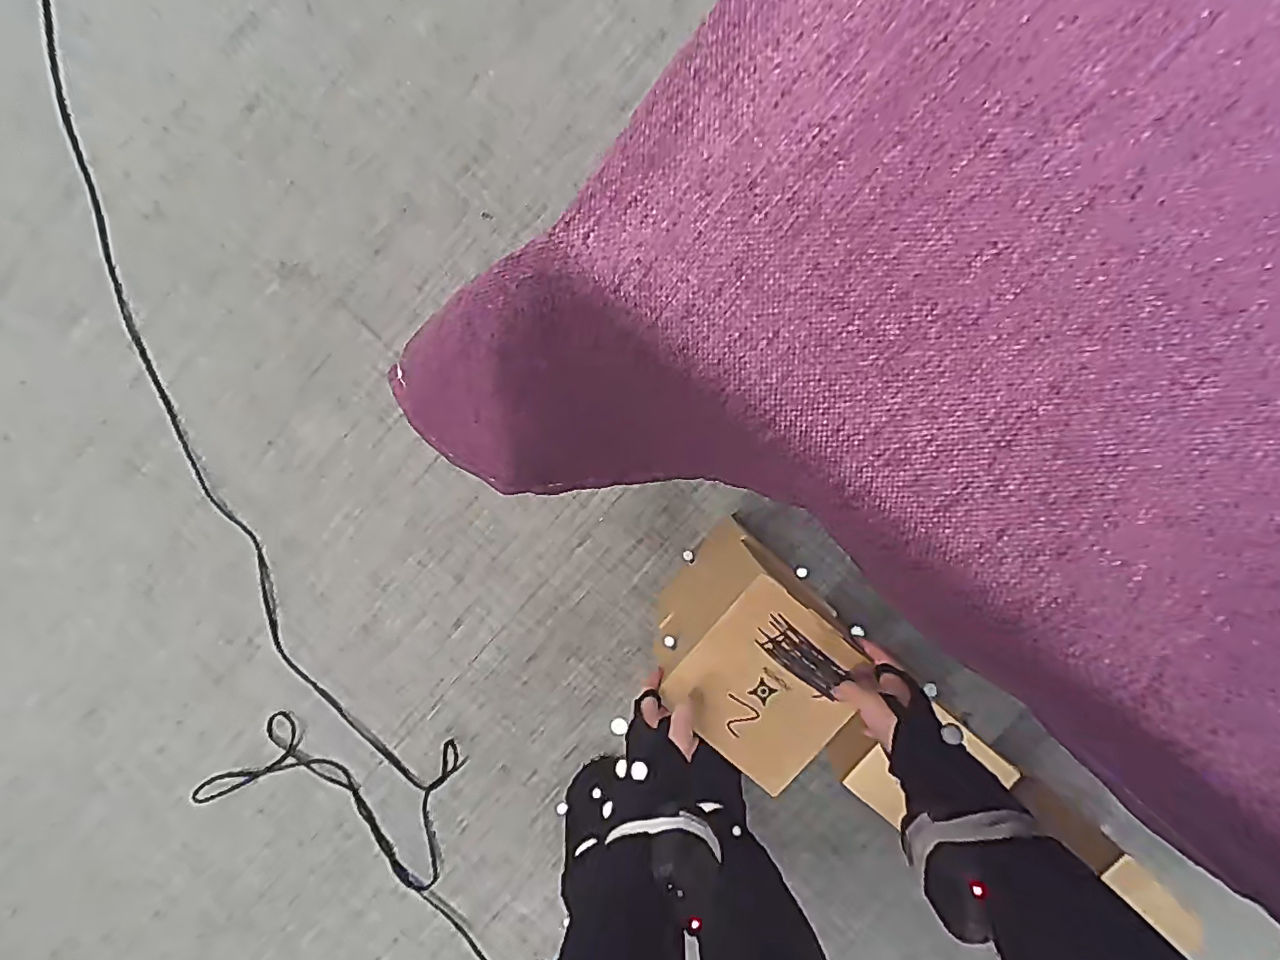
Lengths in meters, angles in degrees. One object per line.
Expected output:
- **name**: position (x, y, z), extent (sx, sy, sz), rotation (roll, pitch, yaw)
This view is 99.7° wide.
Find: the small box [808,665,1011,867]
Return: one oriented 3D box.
- **small box**: position (0.381, 0.403, 0.802), extent (0.179, 0.176, 0.168), rotation (40, 94, -1)
